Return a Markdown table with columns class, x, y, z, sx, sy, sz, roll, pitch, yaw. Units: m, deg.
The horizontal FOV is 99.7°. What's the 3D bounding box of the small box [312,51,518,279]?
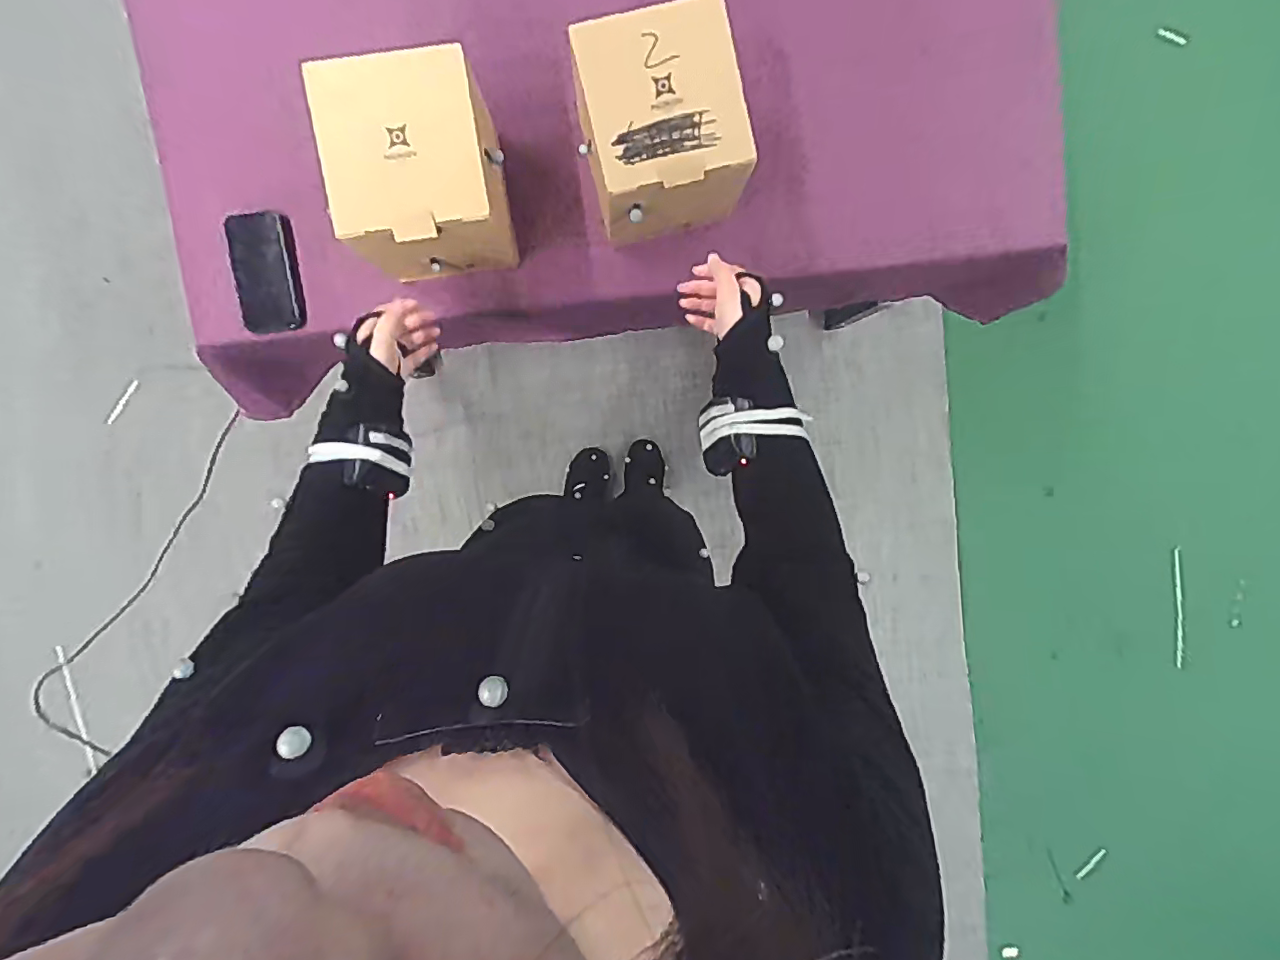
| class | x | y | z | sx | sy | sz | roll | pitch | yaw |
| --- | --- | --- | --- | --- | --- | --- | --- | --- | --- |
| small box | -0.252 | -0.360 | 0.648 | 0.168 | 0.176 | 0.179 | -9 | 97 | -2 |
